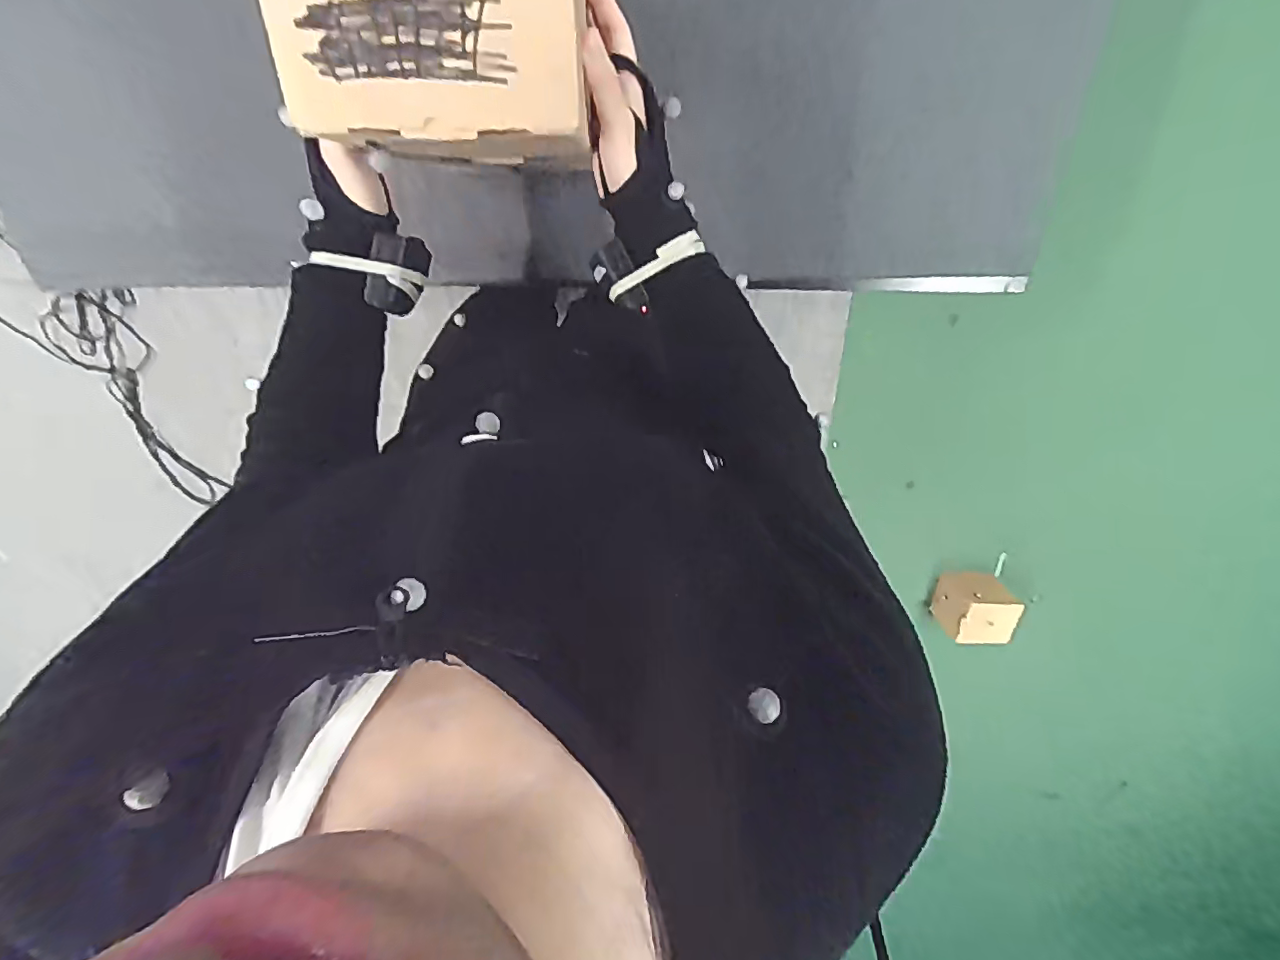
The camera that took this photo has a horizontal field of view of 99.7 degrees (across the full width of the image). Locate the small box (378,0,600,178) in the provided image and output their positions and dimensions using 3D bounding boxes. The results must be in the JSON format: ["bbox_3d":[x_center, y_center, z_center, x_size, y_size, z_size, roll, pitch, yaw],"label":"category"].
[{"bbox_3d":[-0.123,-0.384,0.499,0.168,0.176,0.179,-1,117,-1],"label":"small box"}]

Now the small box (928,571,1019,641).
[{"bbox_3d":[1.104,0.416,1.804,0.179,0.176,0.168,1,118,-3],"label":"small box"}]
